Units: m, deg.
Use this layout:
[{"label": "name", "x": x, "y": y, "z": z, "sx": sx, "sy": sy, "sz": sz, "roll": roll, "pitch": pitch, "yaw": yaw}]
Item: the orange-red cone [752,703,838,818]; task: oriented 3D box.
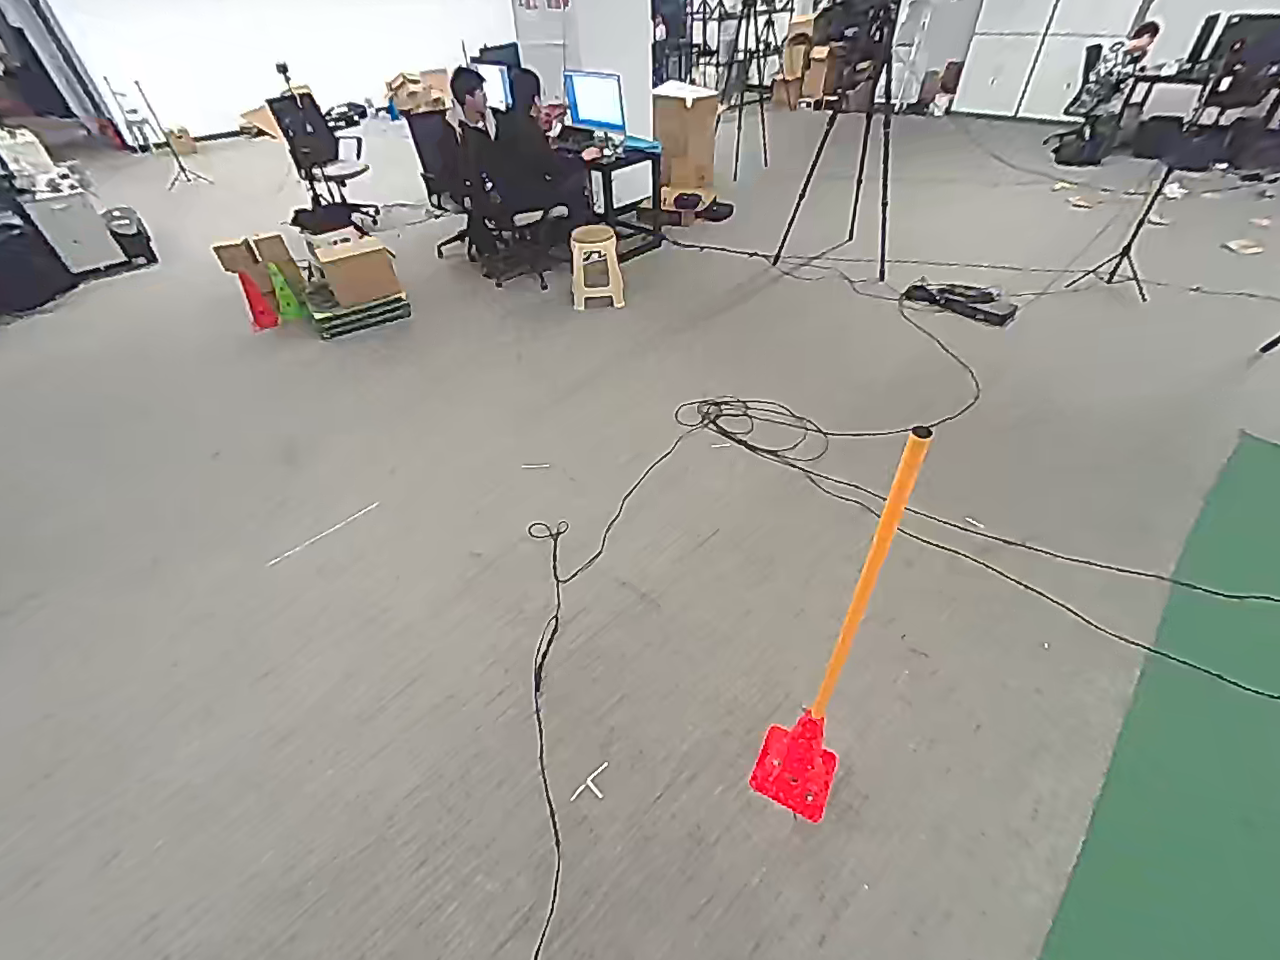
[{"label": "orange-red cone", "x": 0.424, "y": 0.670, "z": 1.384, "sx": 0.198, "sy": 0.360, "sz": 0.199, "roll": 21, "pitch": 46, "yaw": 23}]
